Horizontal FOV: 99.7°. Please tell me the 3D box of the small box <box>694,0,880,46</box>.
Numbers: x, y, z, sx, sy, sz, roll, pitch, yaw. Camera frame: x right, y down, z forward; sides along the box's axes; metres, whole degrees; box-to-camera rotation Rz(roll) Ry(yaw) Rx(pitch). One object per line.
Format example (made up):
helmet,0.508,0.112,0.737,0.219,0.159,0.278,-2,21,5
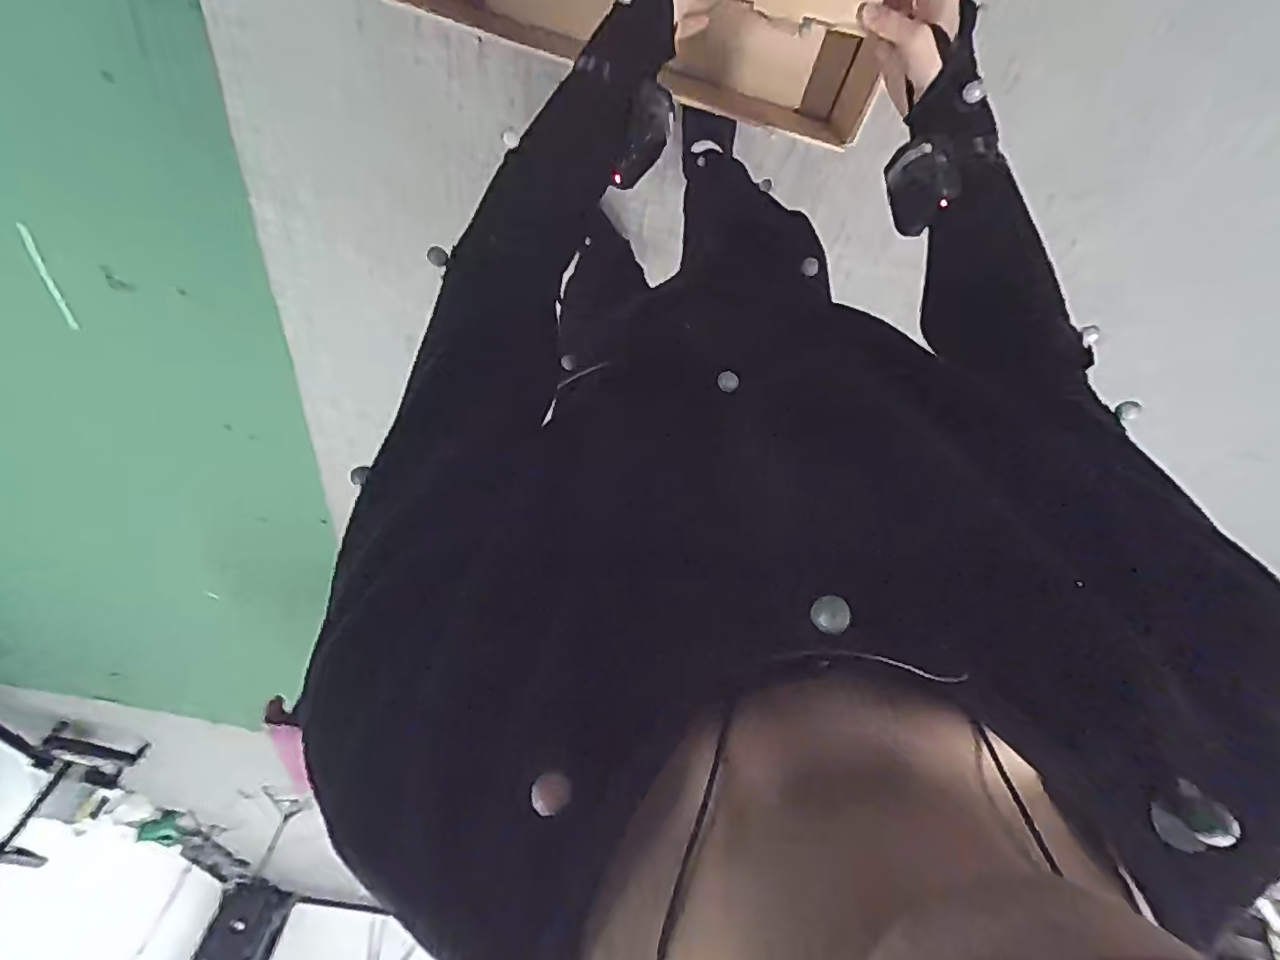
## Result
small box,0.144,-0.509,0.459,0.168,0.176,0.179,14,136,-2
